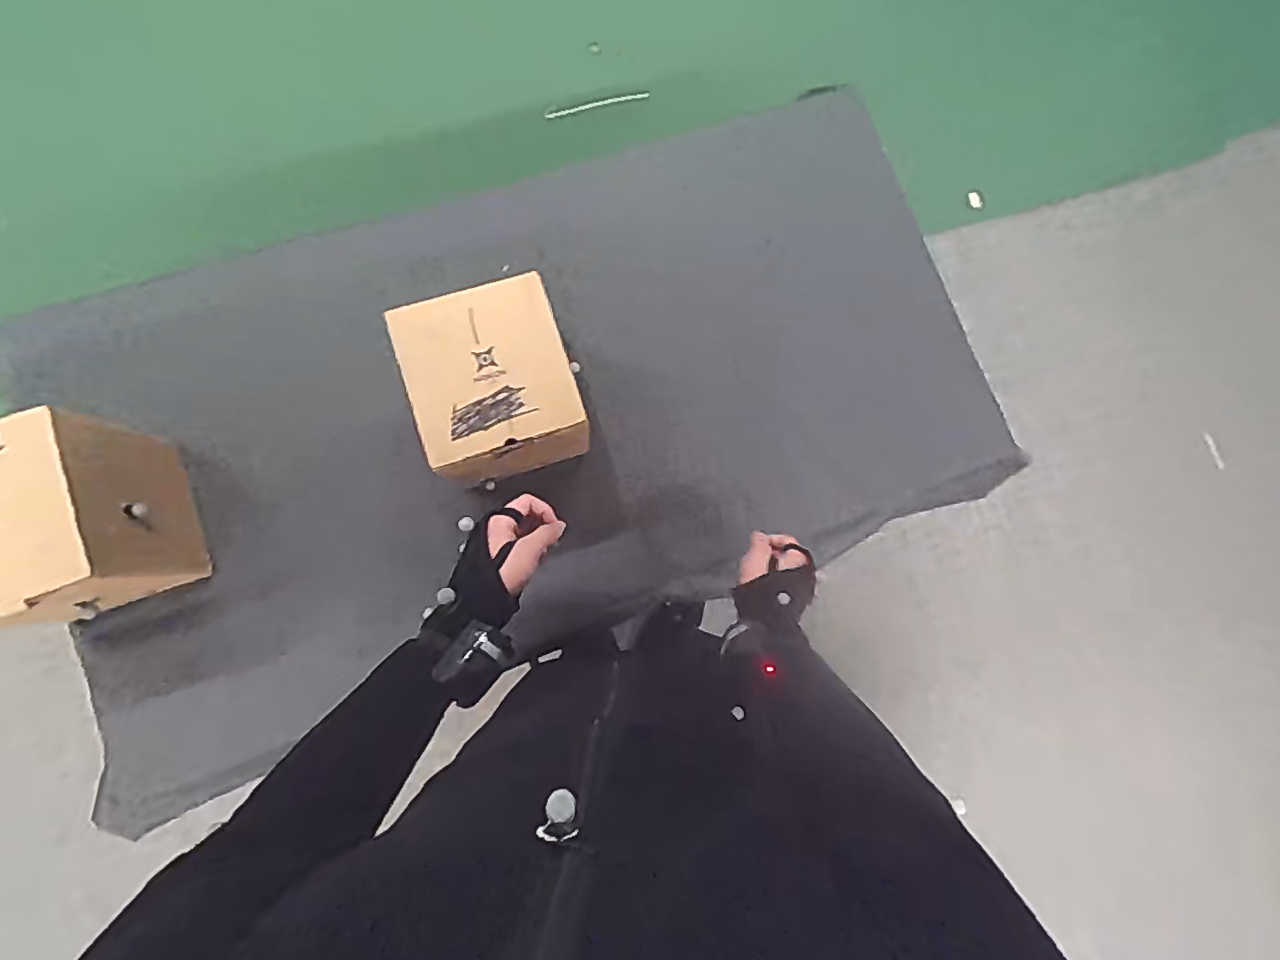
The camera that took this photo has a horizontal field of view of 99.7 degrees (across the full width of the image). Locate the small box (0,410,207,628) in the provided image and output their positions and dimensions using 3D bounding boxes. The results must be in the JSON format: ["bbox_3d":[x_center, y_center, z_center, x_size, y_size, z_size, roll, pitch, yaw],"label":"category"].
[{"bbox_3d":[-0.610,0.048,0.569,0.168,0.176,0.179,-20,86,-9],"label":"small box"}]

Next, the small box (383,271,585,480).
[{"bbox_3d":[-0.165,-0.106,0.630,0.168,0.176,0.179,-18,84,-7],"label":"small box"}]
